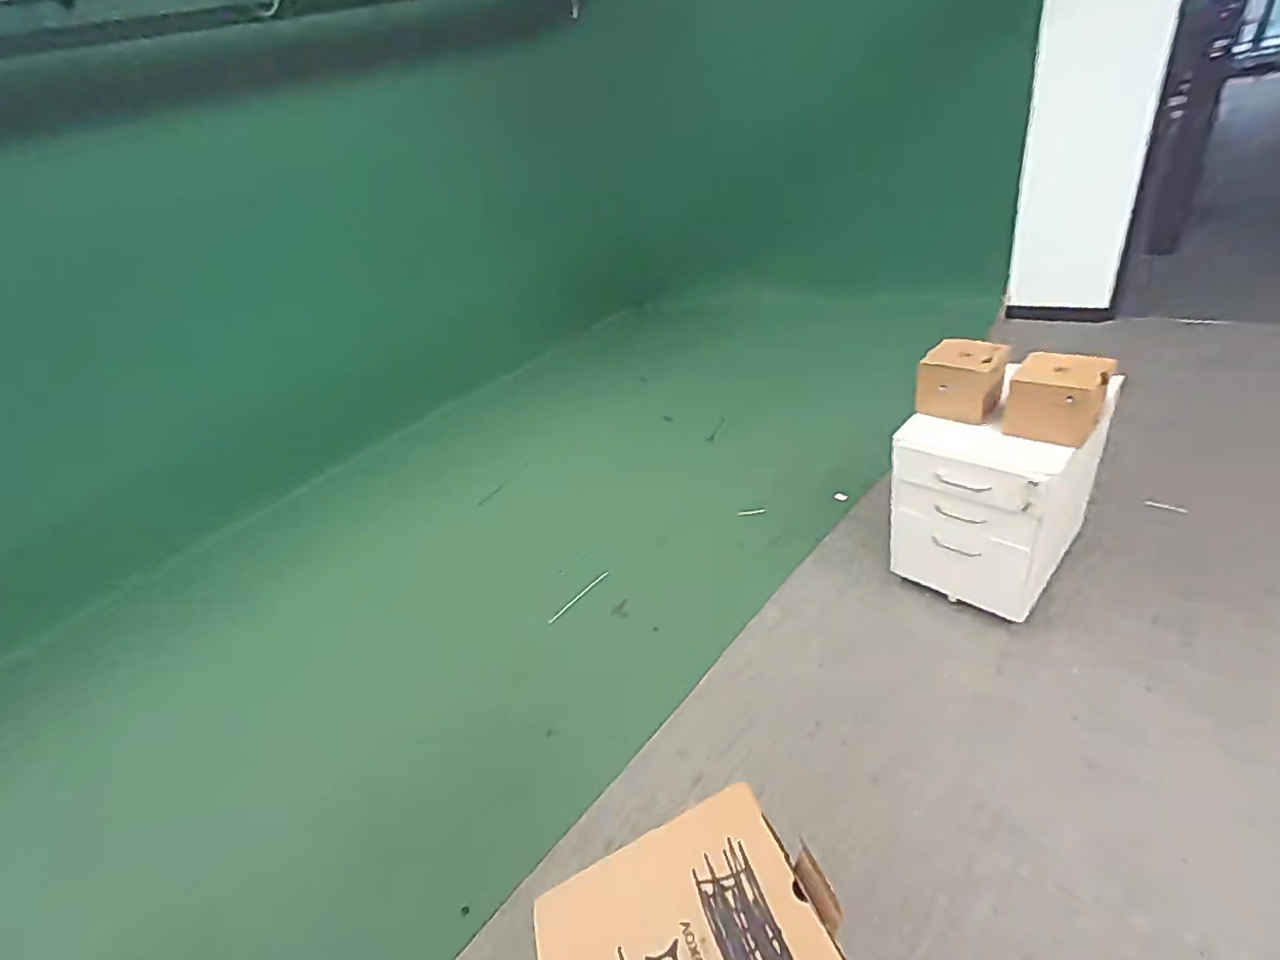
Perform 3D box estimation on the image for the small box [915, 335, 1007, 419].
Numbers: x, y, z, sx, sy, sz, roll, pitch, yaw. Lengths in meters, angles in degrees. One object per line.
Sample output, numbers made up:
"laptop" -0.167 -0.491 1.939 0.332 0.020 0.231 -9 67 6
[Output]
"small box" 0.901 -0.292 1.530 0.168 0.176 0.179 -38 40 -27
